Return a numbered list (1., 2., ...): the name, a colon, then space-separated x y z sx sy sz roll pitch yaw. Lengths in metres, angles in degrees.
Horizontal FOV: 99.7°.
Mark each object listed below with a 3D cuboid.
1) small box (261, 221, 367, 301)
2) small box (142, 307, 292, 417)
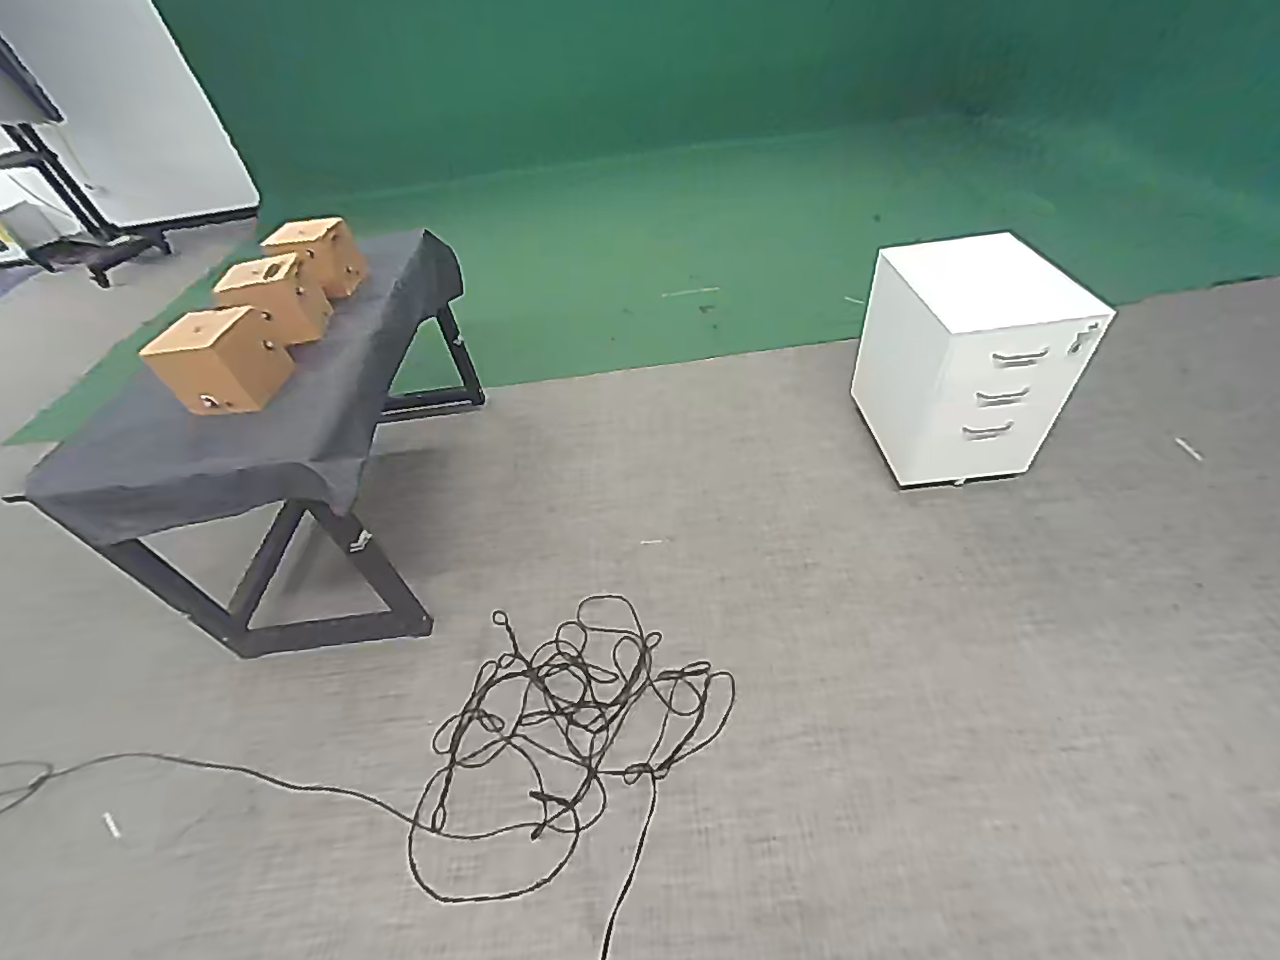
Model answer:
1. small box: -0.948 -0.641 1.591 0.179 0.176 0.168 -3 45 5
2. small box: -0.927 -0.262 1.210 0.168 0.176 0.179 -5 46 6
